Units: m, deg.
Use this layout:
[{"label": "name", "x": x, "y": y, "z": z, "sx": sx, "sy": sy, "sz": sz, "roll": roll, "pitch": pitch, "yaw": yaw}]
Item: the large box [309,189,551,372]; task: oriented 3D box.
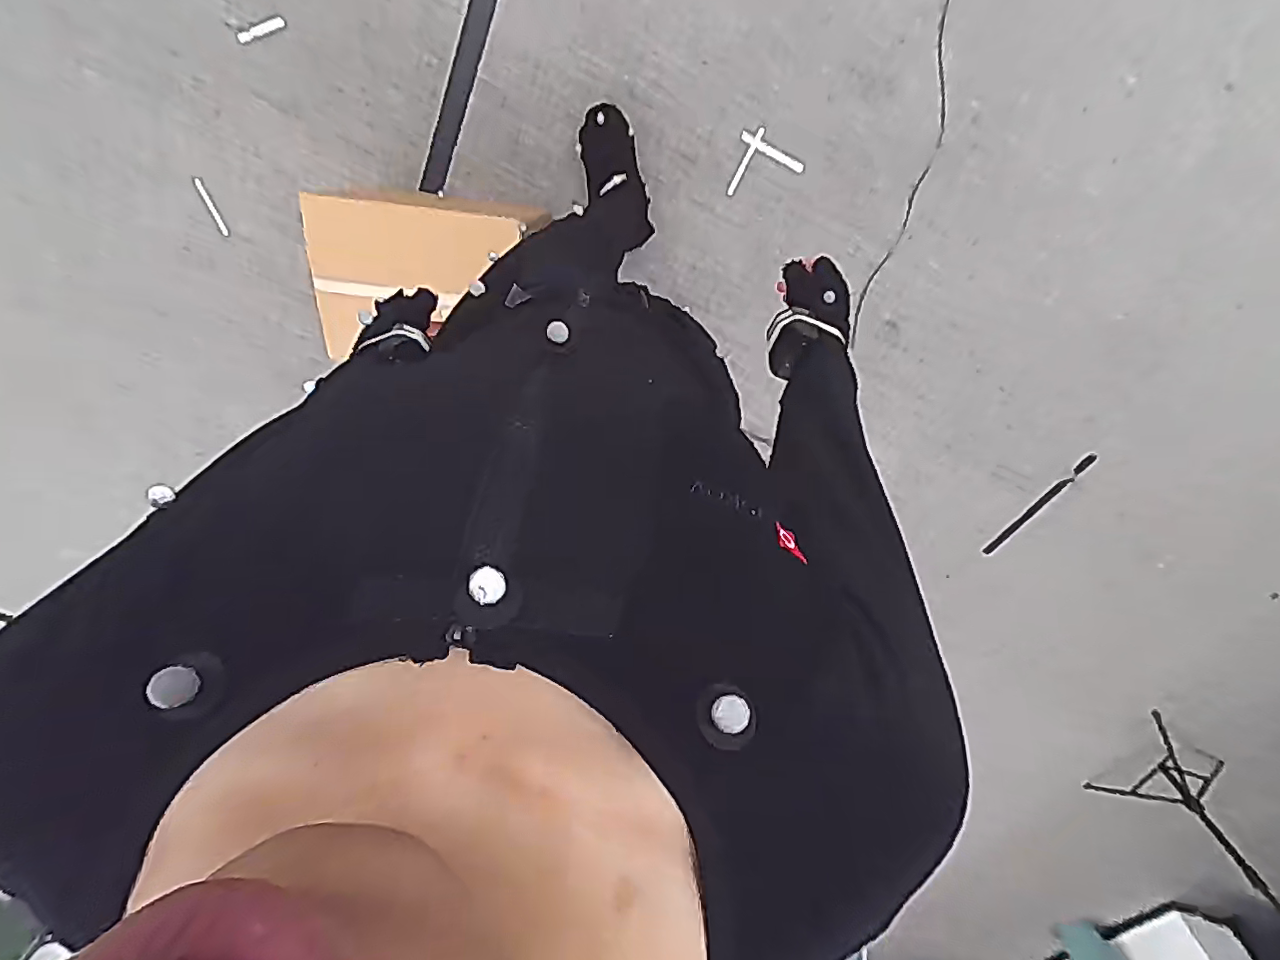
[{"label": "large box", "x": -0.421, "y": -0.449, "z": 1.190, "sx": 0.408, "sy": 0.320, "sz": 0.320, "roll": 5, "pitch": 121, "yaw": -3}]
